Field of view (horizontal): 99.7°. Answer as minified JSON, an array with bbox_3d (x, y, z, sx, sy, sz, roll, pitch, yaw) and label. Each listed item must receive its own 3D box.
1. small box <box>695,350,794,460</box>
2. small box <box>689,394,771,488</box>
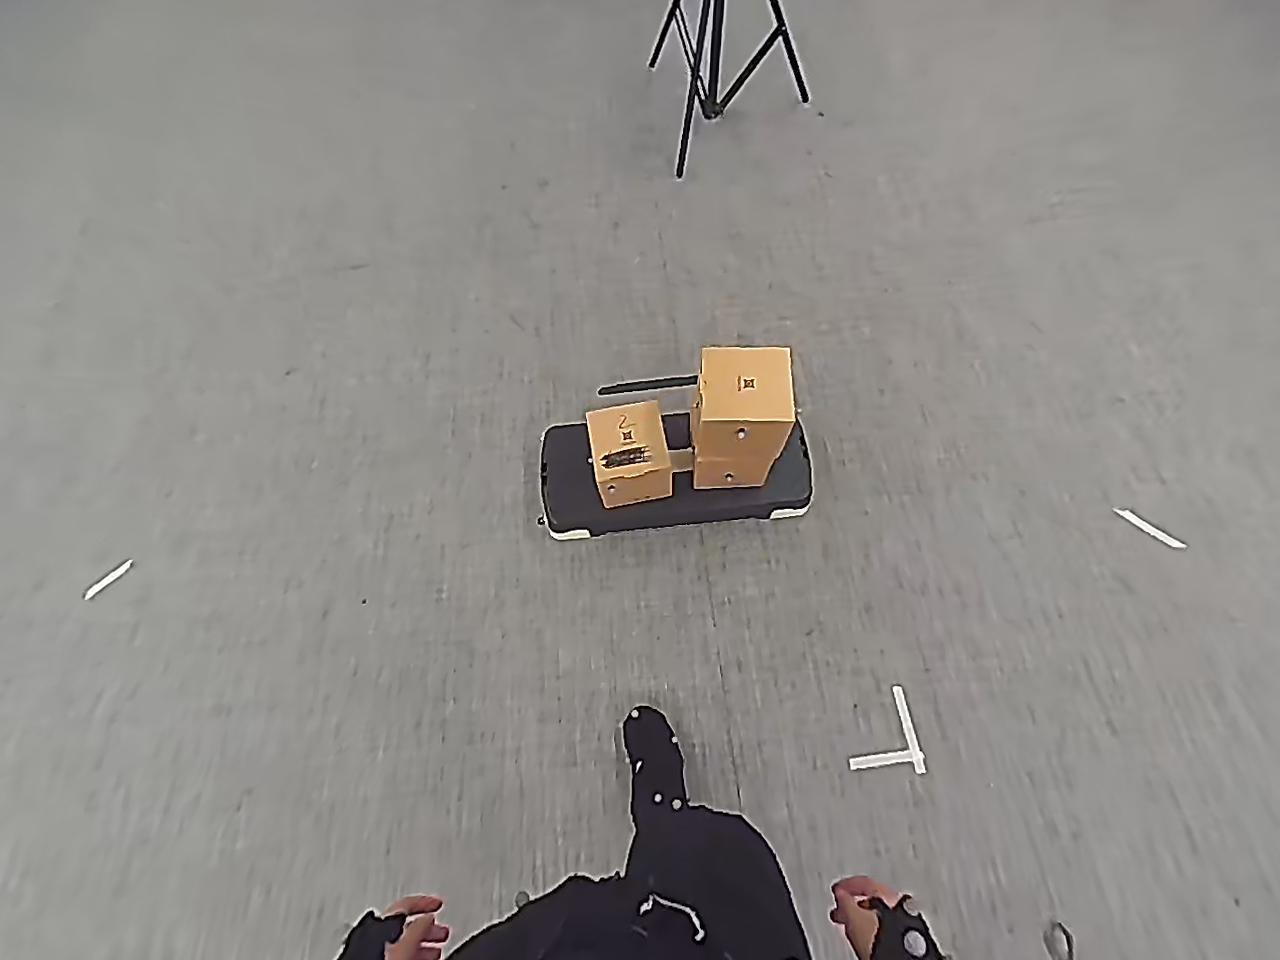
[{"bbox_3d":[0.204,-0.148,1.104,0.179,0.176,0.168,0,68,4],"label":"small box"},{"bbox_3d":[0.201,-0.085,1.255,0.168,0.176,0.179,-2,67,2],"label":"small box"}]
